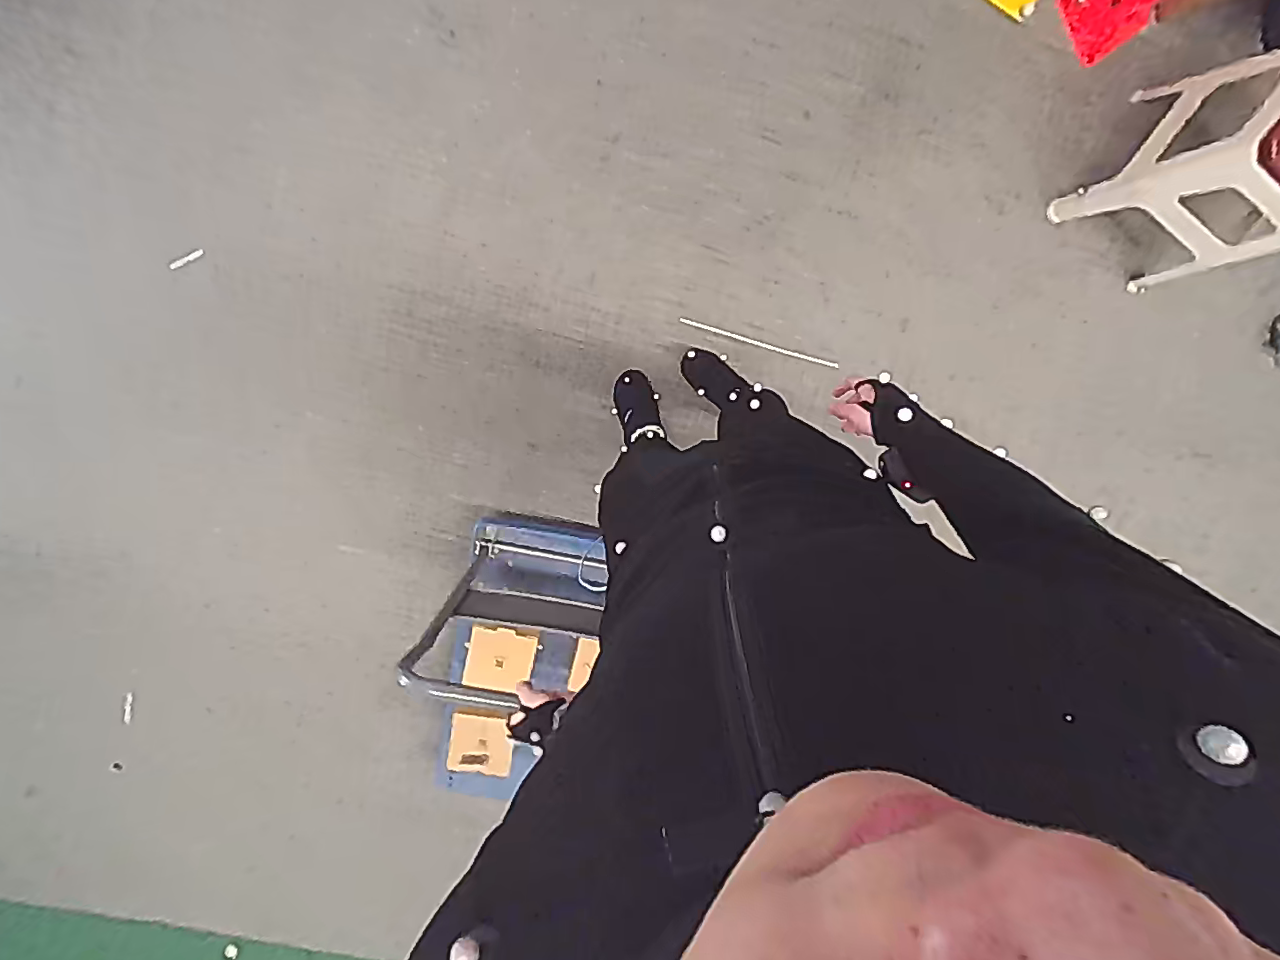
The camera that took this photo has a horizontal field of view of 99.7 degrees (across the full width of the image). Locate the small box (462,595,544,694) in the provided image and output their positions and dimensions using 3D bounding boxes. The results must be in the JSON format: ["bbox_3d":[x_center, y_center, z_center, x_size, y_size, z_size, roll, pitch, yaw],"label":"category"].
[{"bbox_3d":[-0.359,0.436,1.448,0.168,0.176,0.179,13,102,-6],"label":"small box"}]

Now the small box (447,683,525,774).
[{"bbox_3d":[-0.420,0.671,1.497,0.168,0.176,0.179,10,102,-6],"label":"small box"}]

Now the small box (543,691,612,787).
[{"bbox_3d":[-0.172,0.722,1.522,0.168,0.176,0.179,8,103,-4],"label":"small box"}]
